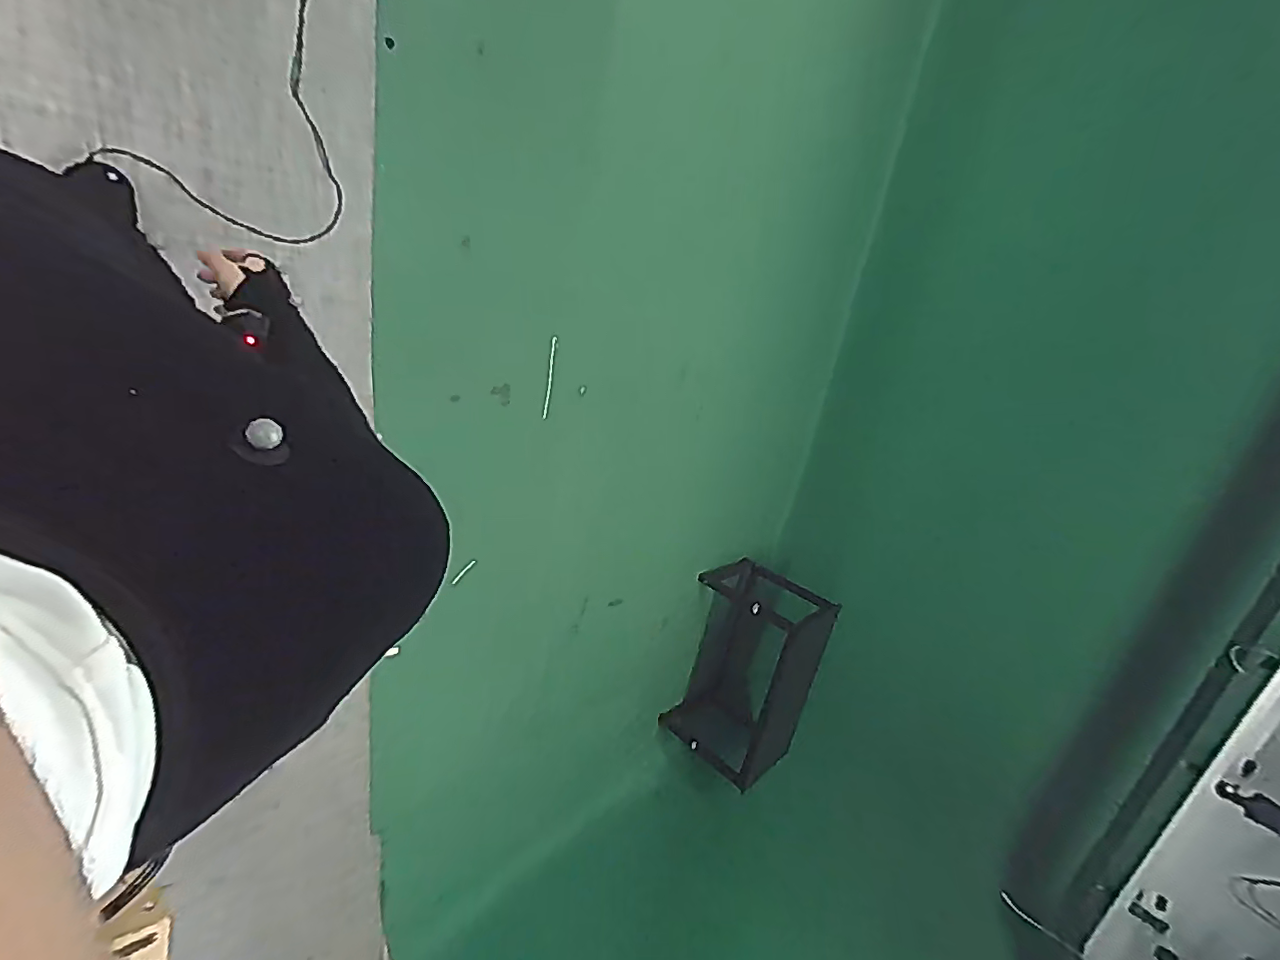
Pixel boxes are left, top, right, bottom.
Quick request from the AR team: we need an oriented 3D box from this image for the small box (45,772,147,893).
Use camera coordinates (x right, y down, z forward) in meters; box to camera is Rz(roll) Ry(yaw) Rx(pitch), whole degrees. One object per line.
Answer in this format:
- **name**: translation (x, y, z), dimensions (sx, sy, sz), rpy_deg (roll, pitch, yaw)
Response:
- **small box**: translation (-1.422, 0.912, 1.411), dimensions (0.179, 0.176, 0.168), rpy_deg (0, 111, -50)

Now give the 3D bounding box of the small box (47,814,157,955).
- **small box**: translation (-1.304, 0.964, 1.307), dimensions (0.179, 0.176, 0.168), rpy_deg (-1, 111, -50)
